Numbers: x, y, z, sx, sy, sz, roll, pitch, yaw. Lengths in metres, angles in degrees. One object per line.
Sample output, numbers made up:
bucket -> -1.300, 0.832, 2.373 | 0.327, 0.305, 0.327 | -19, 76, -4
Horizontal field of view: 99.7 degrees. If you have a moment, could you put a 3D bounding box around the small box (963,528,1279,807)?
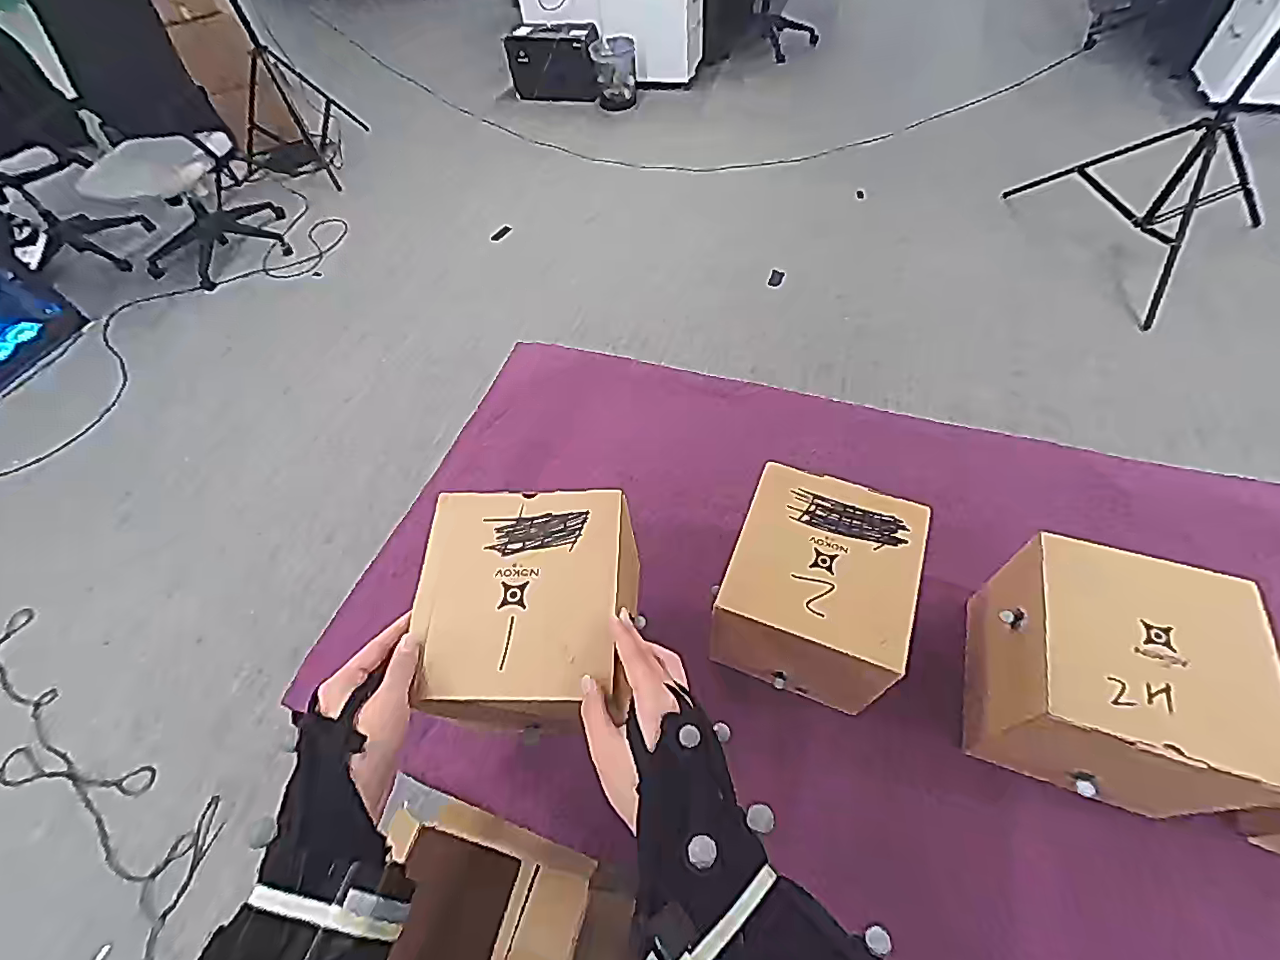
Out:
small box -> 0.425, 0.178, 0.507 | 0.168, 0.176, 0.179 | 15, 57, 16

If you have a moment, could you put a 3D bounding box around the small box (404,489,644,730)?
small box -> -0.086, 0.124, 0.505 | 0.168, 0.176, 0.179 | -1, 58, 5
